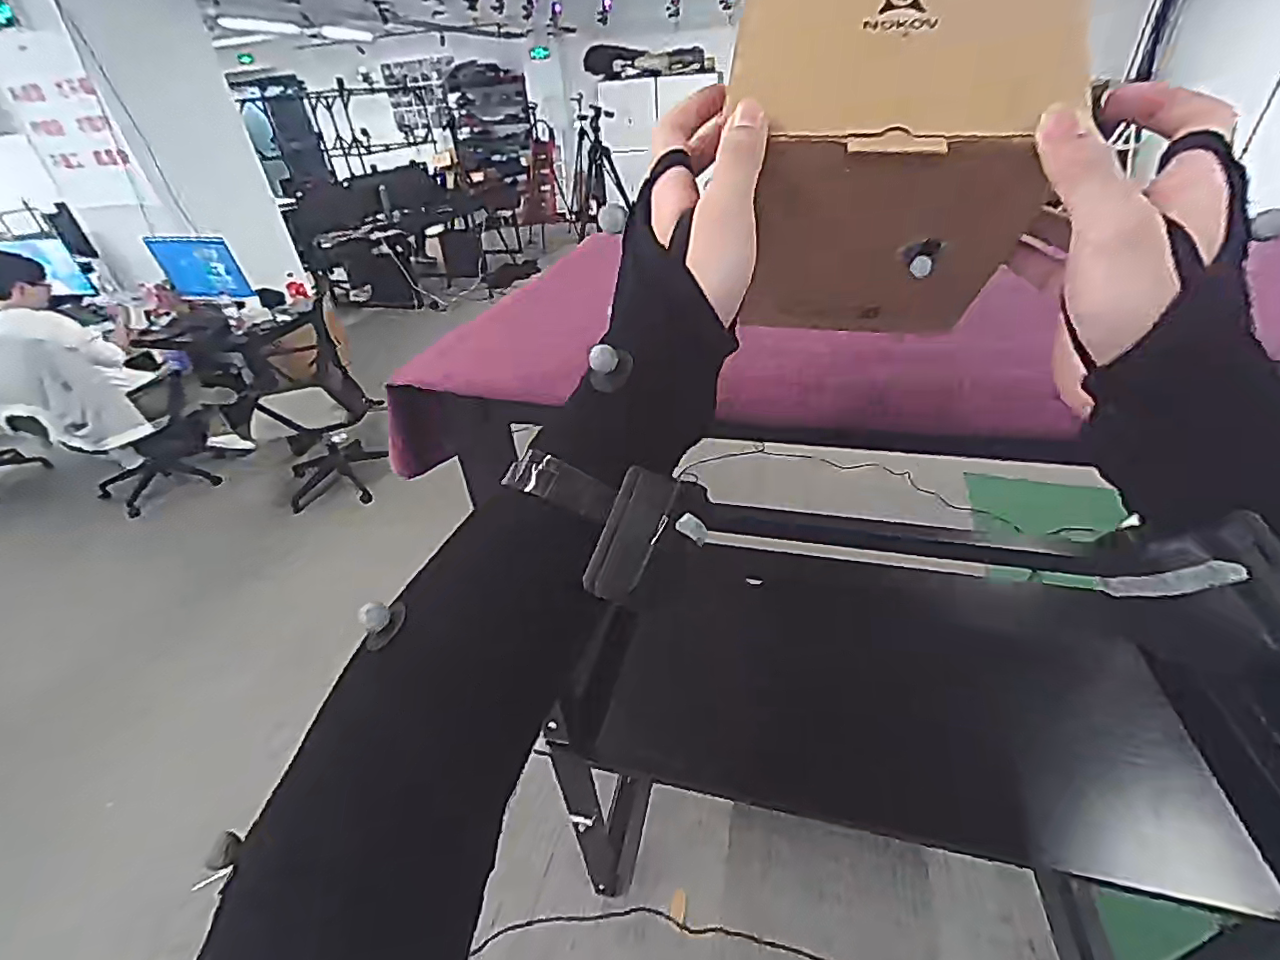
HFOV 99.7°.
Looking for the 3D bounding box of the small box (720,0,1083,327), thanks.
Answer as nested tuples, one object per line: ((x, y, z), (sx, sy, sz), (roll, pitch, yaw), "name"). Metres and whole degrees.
((0.147, -0.222, 0.357), (0.168, 0.176, 0.179), (7, 73, 10), "small box")
